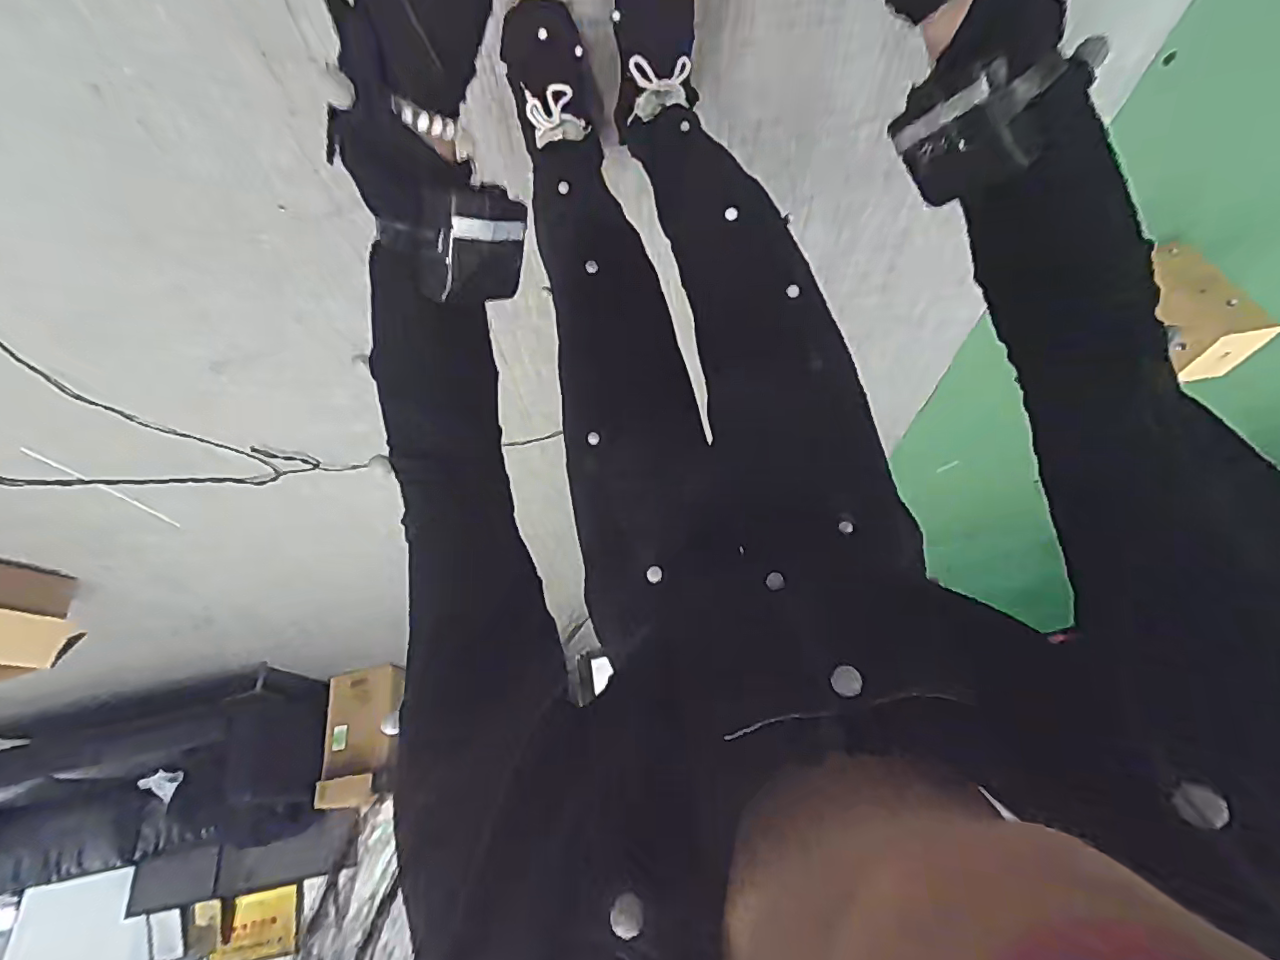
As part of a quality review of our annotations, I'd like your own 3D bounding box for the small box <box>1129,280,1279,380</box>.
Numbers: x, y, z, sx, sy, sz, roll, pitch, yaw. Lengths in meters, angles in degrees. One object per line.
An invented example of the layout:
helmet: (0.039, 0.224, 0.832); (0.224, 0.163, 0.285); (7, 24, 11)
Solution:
small box: (1.404, -0.381, 1.358); (0.168, 0.176, 0.179); (-9, 151, -4)
